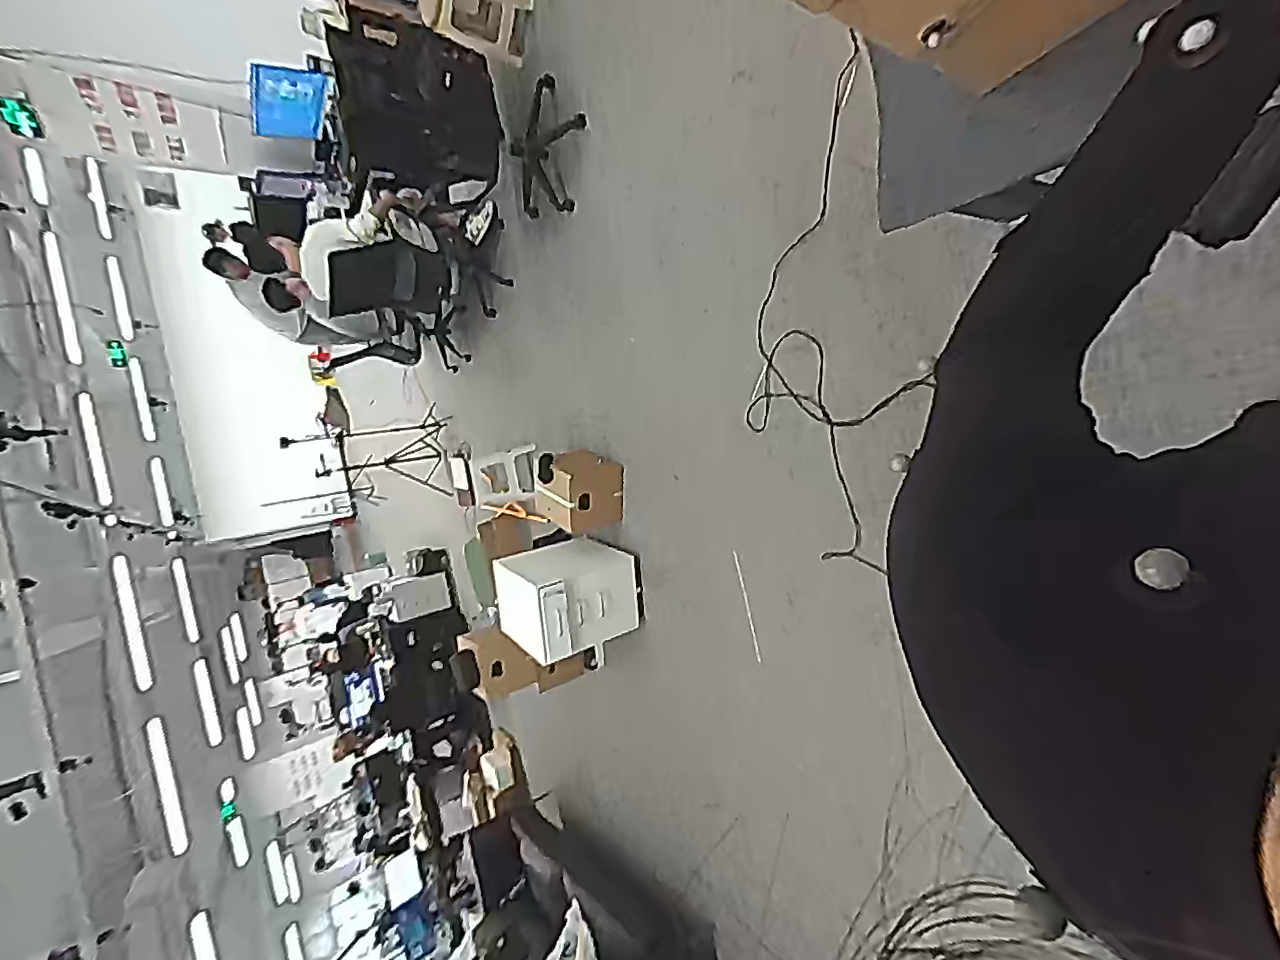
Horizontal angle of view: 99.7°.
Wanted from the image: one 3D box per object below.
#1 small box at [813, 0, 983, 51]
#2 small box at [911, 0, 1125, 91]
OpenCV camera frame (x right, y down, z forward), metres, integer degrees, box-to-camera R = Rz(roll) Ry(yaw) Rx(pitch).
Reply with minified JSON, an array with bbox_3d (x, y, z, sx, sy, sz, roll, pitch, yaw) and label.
[{"bbox_3d":[0.247,-0.517,0.462,0.168,0.176,0.179,-20,81,55],"label":"small box"},{"bbox_3d":[0.385,-0.546,0.546,0.179,0.176,0.168,-13,87,56],"label":"small box"}]
